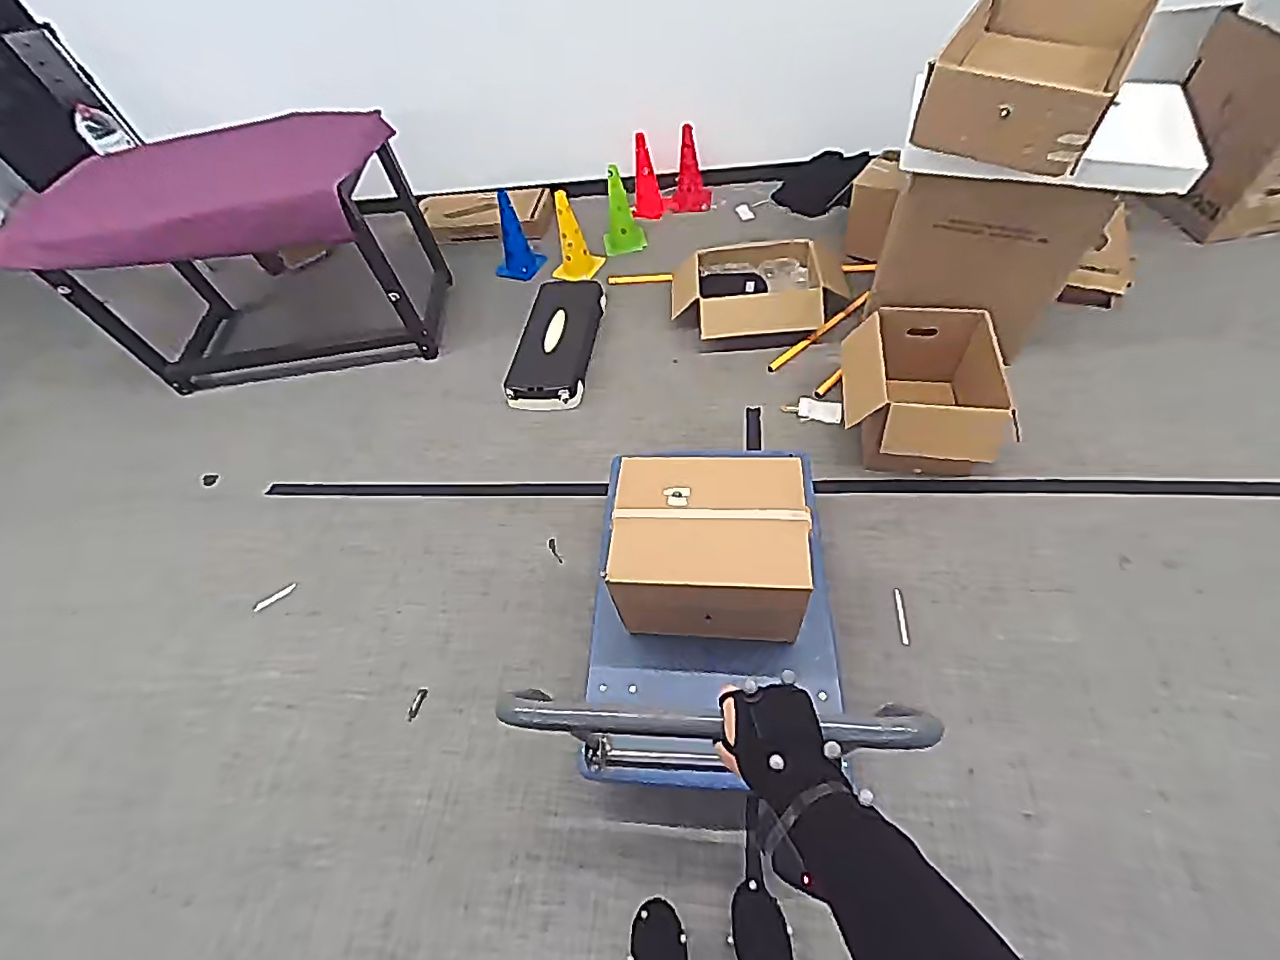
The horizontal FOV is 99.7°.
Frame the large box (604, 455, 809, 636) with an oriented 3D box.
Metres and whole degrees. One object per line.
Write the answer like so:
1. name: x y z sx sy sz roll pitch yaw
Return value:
1. large box: 0.157 0.161 1.250 0.408 0.320 0.320 -1 54 10
